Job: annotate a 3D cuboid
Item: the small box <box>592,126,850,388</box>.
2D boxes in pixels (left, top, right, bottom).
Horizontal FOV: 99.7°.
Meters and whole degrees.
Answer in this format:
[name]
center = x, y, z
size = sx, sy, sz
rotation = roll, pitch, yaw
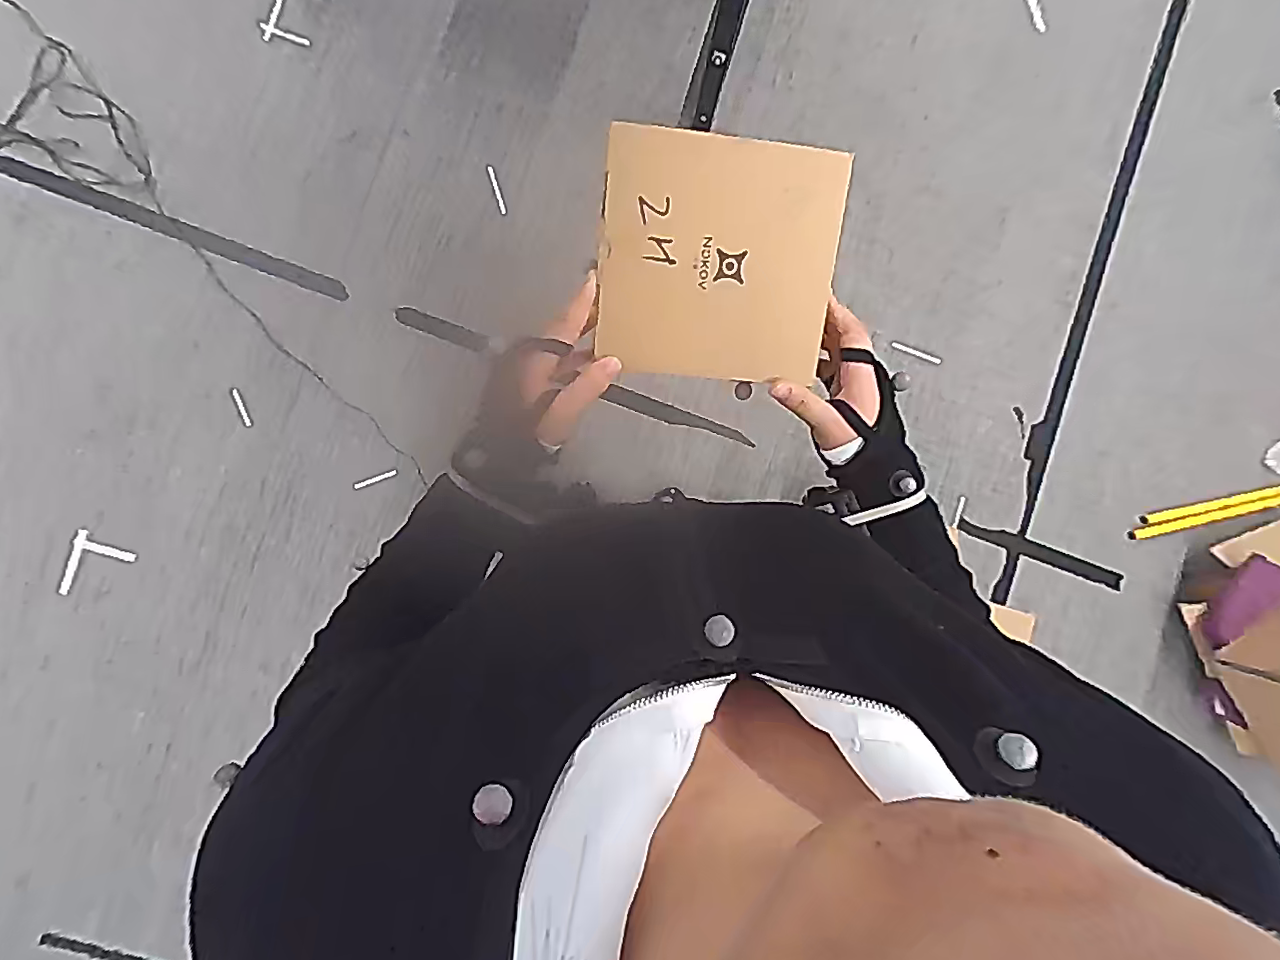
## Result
[small box]
center = 0.051, -0.178, 0.473
size = 0.179, 0.176, 0.168
rotation = 4, 104, -5
